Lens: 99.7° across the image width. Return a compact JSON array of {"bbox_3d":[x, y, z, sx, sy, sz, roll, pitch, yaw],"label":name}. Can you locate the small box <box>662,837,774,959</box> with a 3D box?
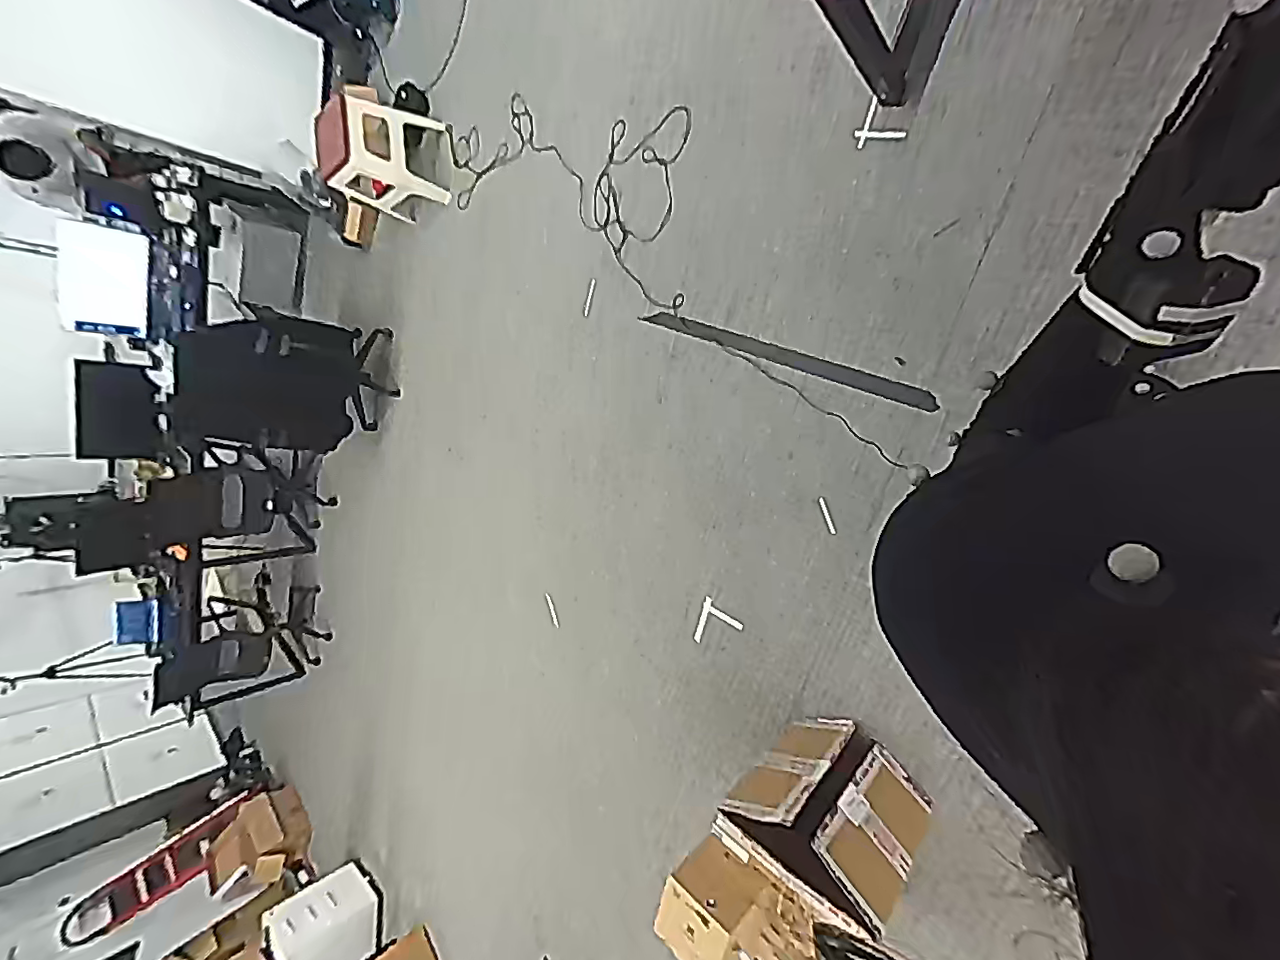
[{"bbox_3d":[0.176,0.962,1.209,0.168,0.176,0.179,24,111,38],"label":"small box"}]
